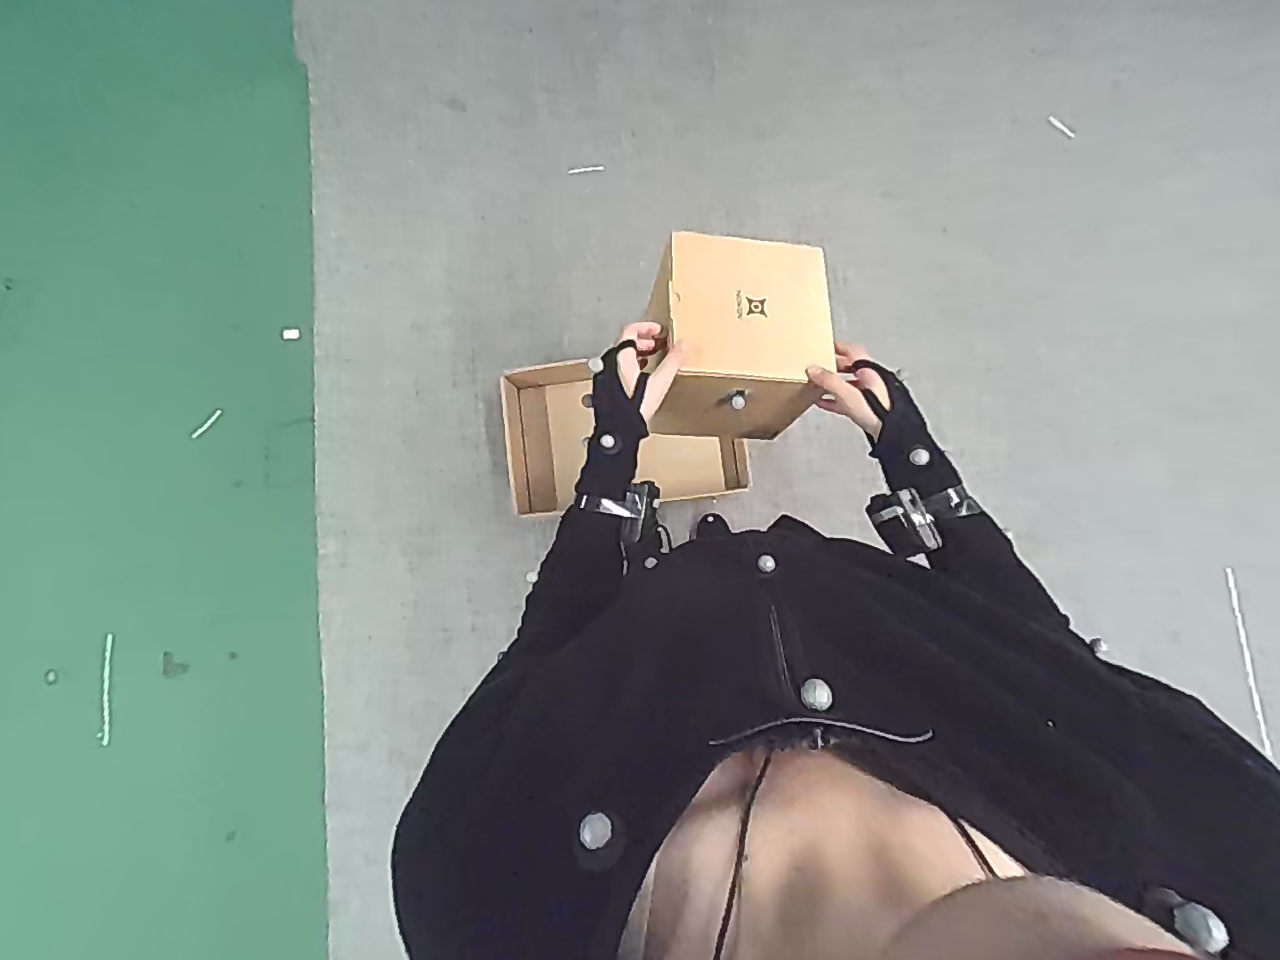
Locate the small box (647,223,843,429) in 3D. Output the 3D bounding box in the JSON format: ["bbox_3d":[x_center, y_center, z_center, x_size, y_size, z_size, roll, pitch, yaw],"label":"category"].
[{"bbox_3d":[0.108,-0.165,0.629,0.179,0.176,0.168,2,74,-8],"label":"small box"}]
